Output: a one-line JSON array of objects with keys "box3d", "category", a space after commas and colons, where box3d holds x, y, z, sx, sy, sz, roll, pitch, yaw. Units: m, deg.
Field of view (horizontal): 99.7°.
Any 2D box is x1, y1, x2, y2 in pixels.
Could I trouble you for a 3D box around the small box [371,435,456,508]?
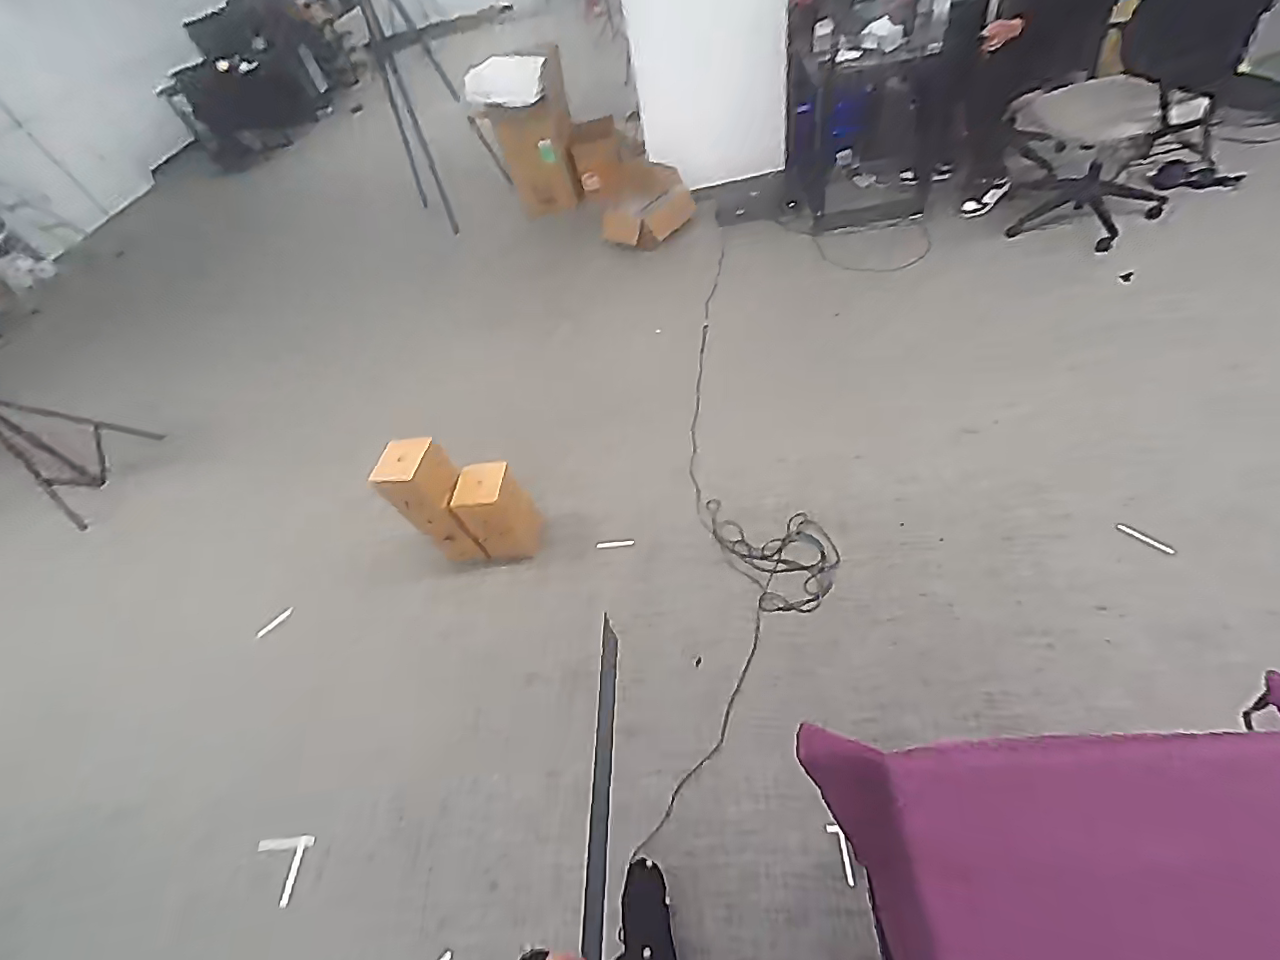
[{"box3d": [-0.731, -0.028, 1.769, 0.168, 0.176, 0.179, -1, 51, 16], "category": "small box"}]
